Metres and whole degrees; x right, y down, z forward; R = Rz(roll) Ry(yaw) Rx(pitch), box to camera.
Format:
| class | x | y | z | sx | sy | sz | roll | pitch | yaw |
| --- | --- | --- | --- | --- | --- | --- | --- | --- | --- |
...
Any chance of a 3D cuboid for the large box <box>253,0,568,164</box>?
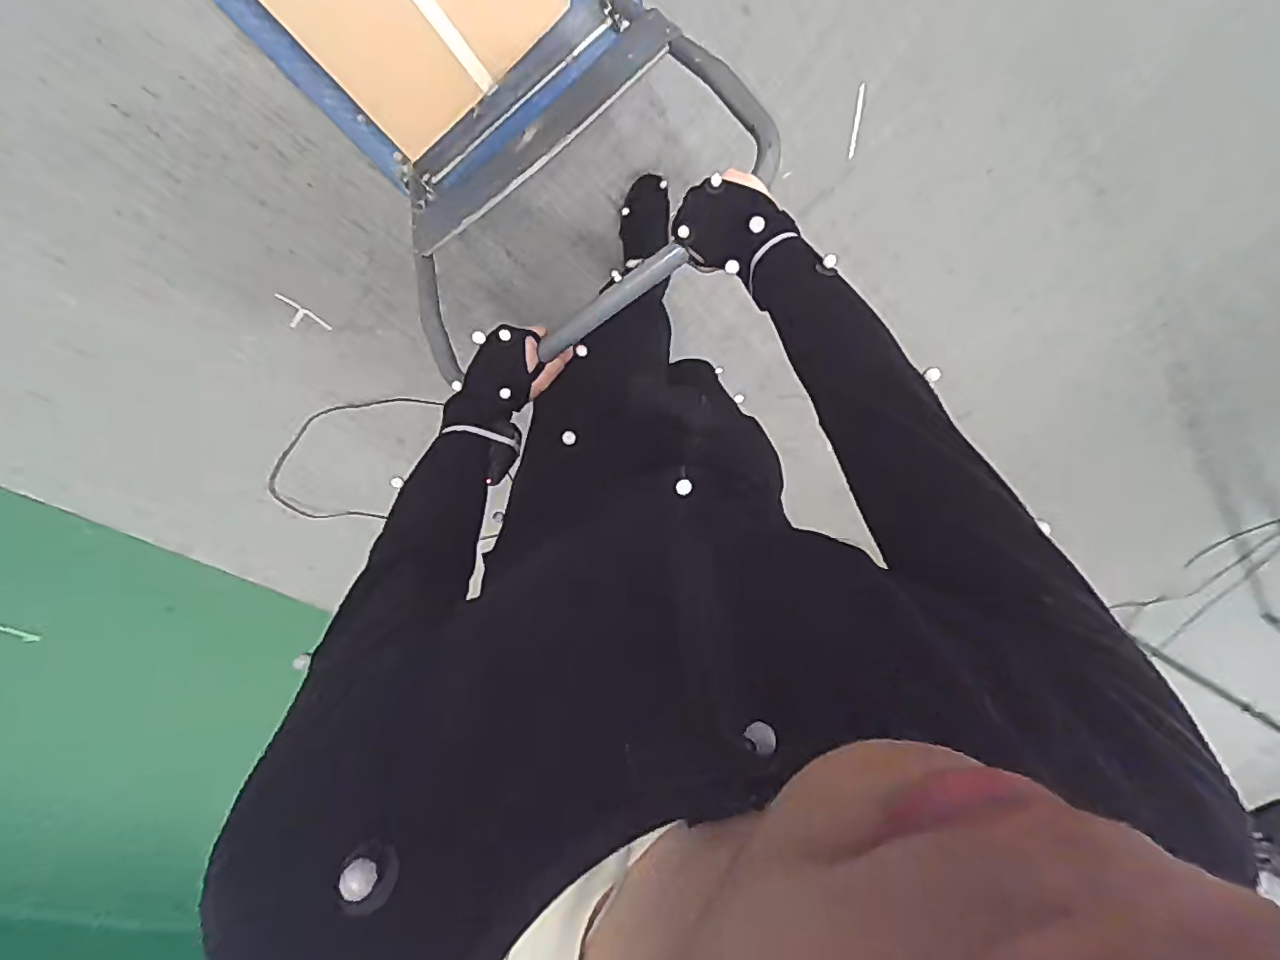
| class | x | y | z | sx | sy | sz | roll | pitch | yaw |
| --- | --- | --- | --- | --- | --- | --- | --- | --- | --- |
| large box | -0.359 | -0.752 | 0.741 | 0.320 | 0.320 | 0.408 | -34 | 137 | 16 |
